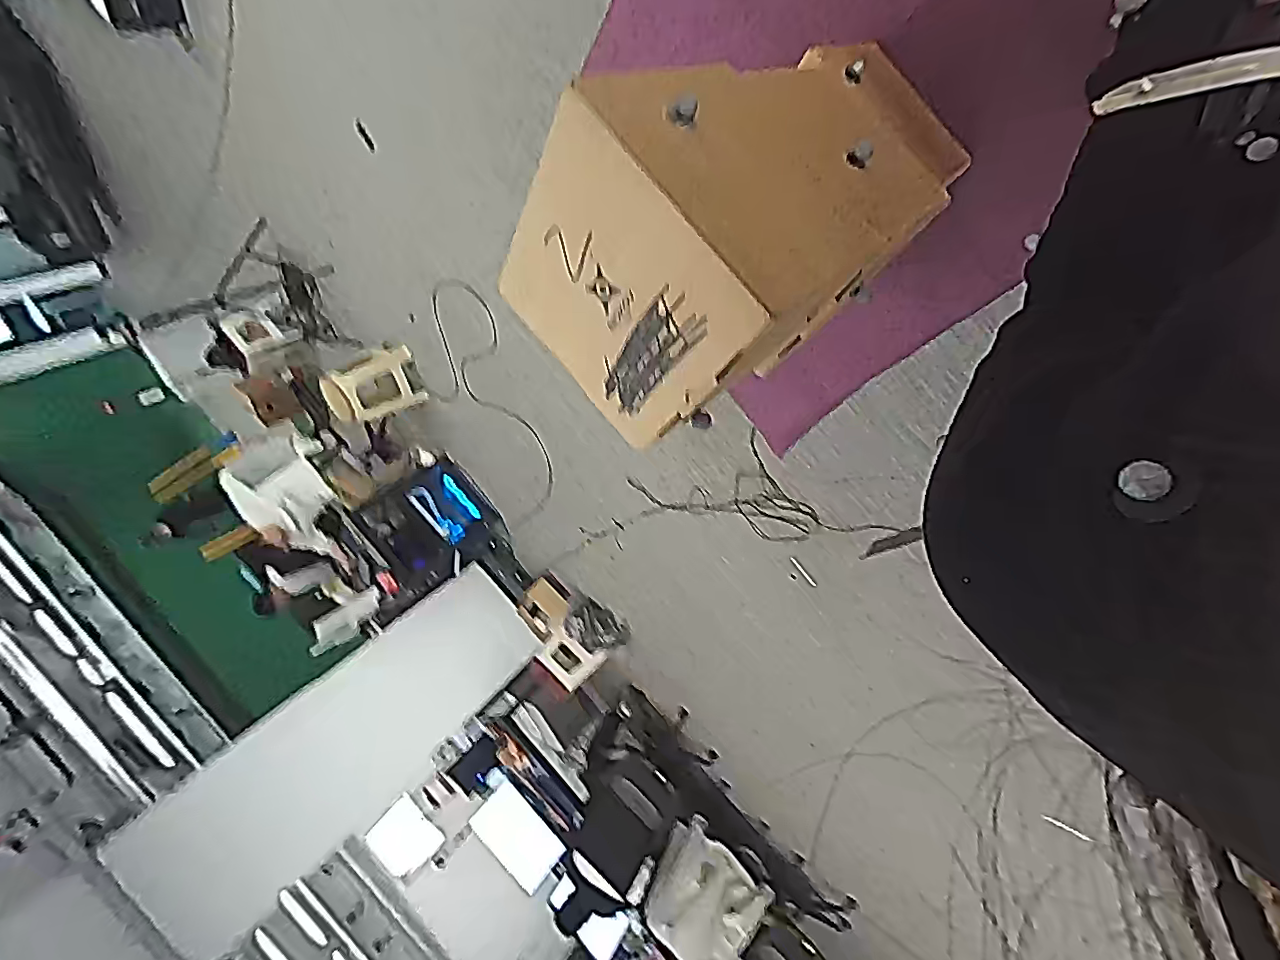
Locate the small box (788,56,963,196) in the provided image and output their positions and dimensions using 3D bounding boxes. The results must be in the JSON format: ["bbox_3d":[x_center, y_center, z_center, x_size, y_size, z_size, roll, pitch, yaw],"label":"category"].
[{"bbox_3d":[0.223,-0.338,0.609,0.179,0.176,0.168,50,143,0],"label":"small box"}]

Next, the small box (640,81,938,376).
[{"bbox_3d":[0.139,-0.238,0.508,0.179,0.176,0.168,46,143,3],"label":"small box"}]
